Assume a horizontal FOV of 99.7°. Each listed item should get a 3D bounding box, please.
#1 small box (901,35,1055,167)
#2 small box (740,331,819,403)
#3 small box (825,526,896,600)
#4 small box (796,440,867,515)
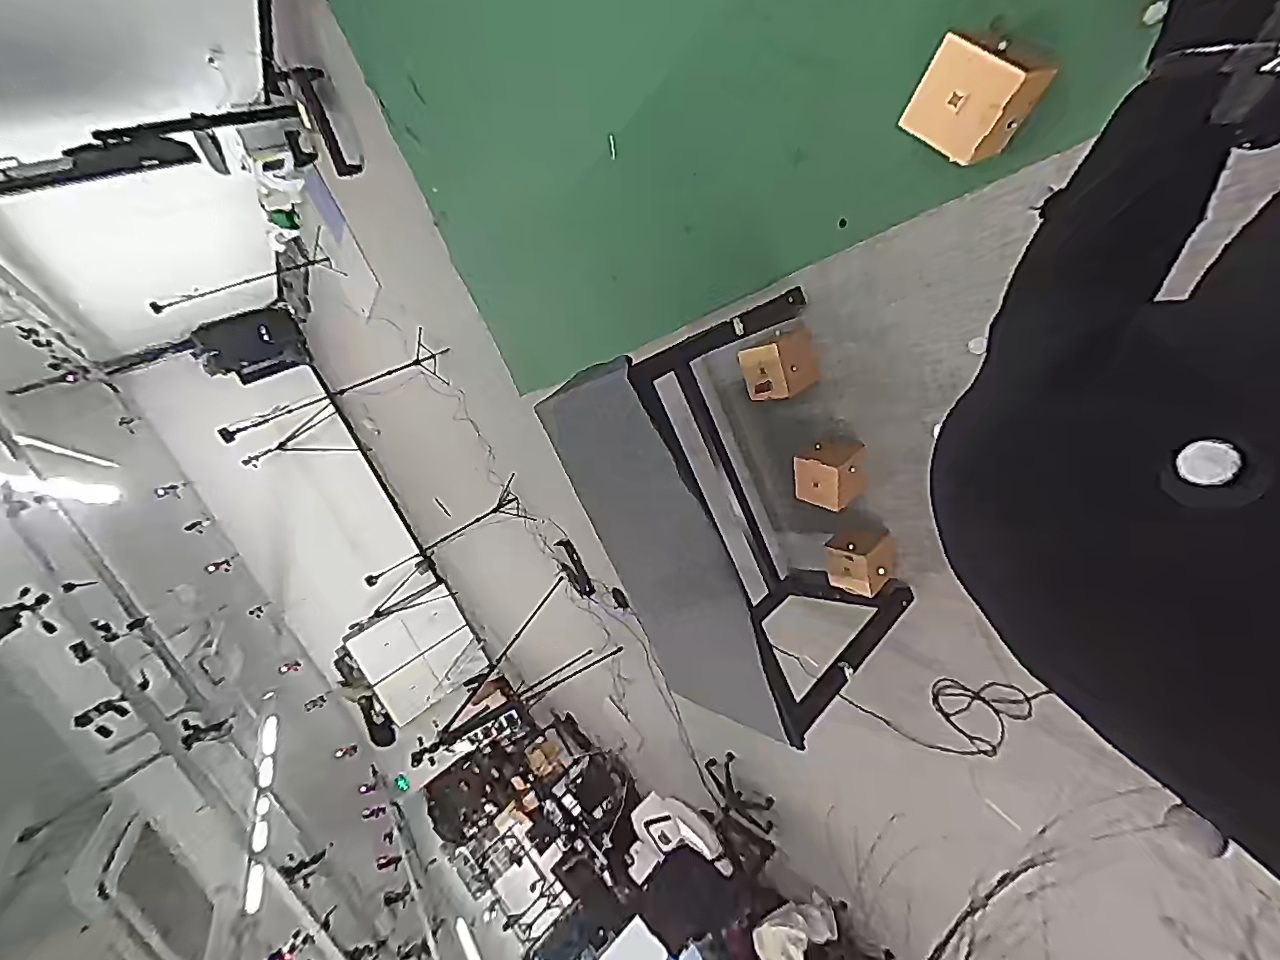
[{"bbox_3d":[0.685,-0.772,1.100,0.179,0.176,0.168,46,148,18],"label":"small box"},{"bbox_3d":[0.464,-0.372,1.782,0.168,0.176,0.179,3,119,54],"label":"small box"},{"bbox_3d":[0.790,0.291,1.925,0.168,0.176,0.179,12,128,50],"label":"small box"},{"bbox_3d":[0.653,-0.016,1.839,0.168,0.176,0.179,22,136,46],"label":"small box"}]
